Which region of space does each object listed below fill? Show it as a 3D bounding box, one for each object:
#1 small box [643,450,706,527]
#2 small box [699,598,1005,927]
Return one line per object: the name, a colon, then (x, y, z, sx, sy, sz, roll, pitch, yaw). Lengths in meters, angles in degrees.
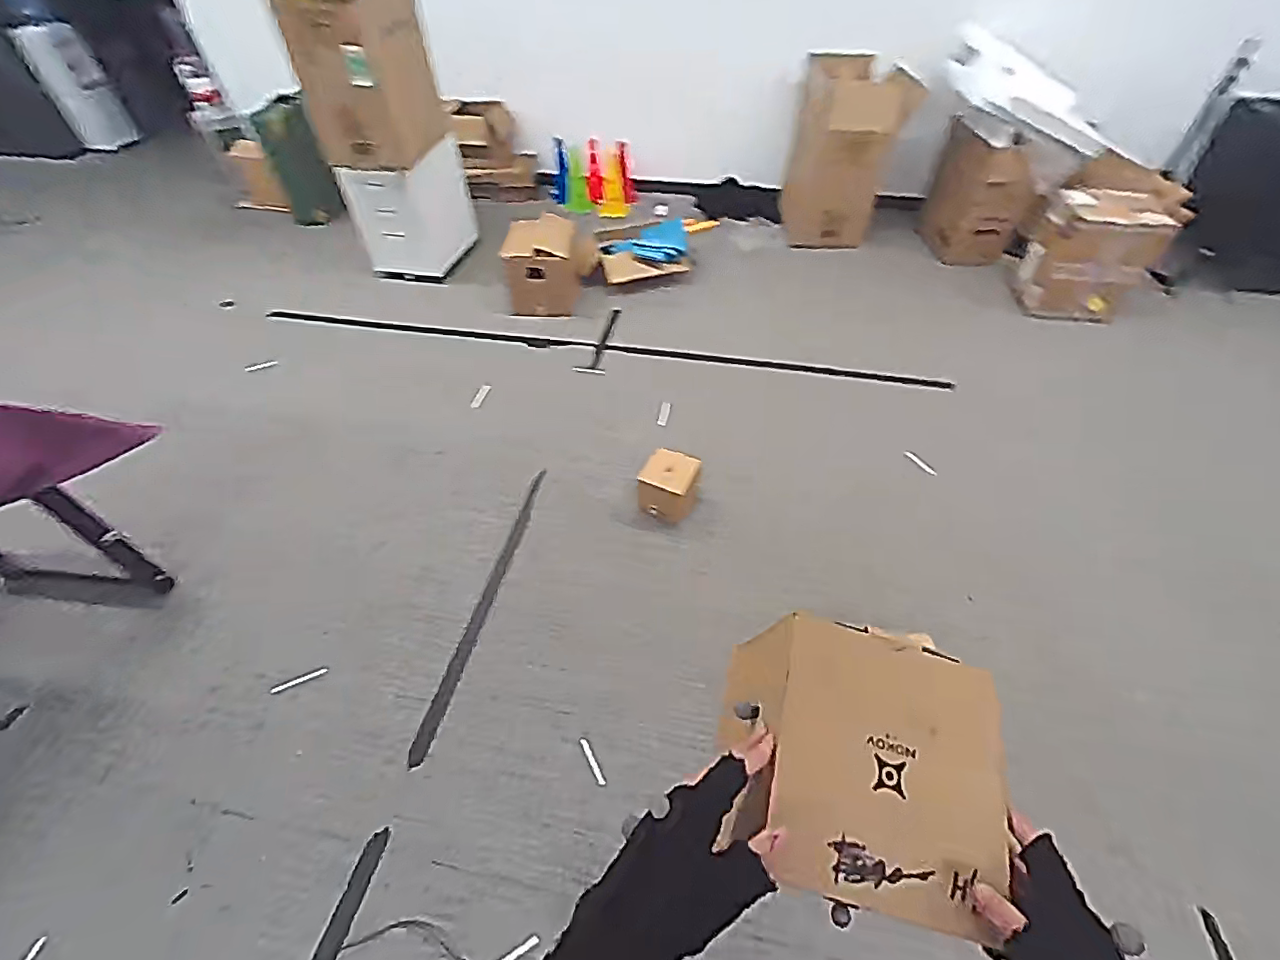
small box: (0.118, 0.031, 1.895, 0.168, 0.176, 0.179, 20, 52, 19)
small box: (0.156, 0.224, 0.447, 0.168, 0.176, 0.179, 16, 59, -1)
